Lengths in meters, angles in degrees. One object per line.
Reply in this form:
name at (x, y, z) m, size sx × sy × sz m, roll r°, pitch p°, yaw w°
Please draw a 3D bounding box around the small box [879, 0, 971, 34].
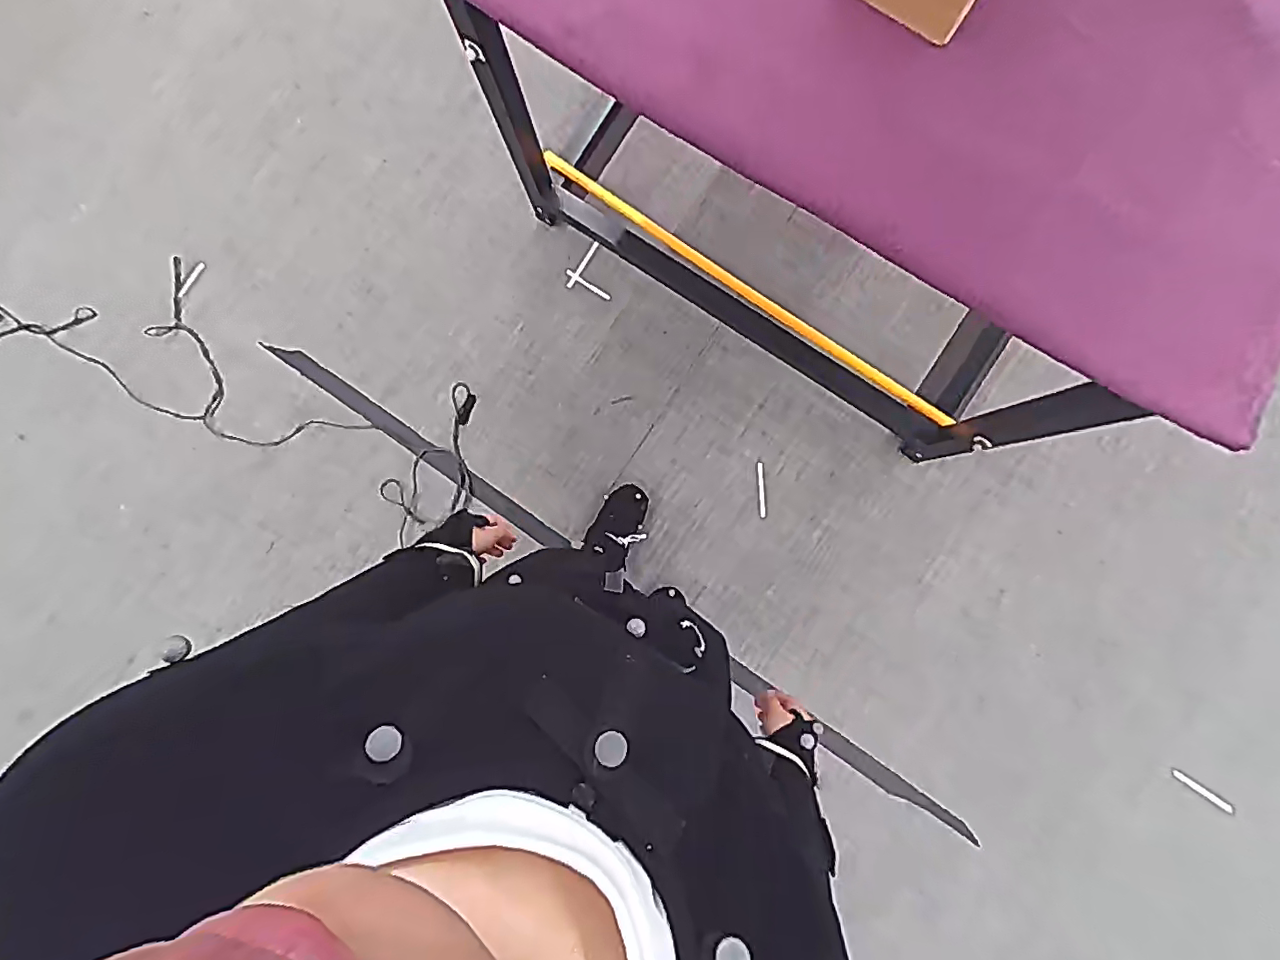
small box at (0.346, -0.663, 0.602) m, size 0.179 × 0.176 × 0.168 m, roll 34°, pitch 88°, yaw 3°
